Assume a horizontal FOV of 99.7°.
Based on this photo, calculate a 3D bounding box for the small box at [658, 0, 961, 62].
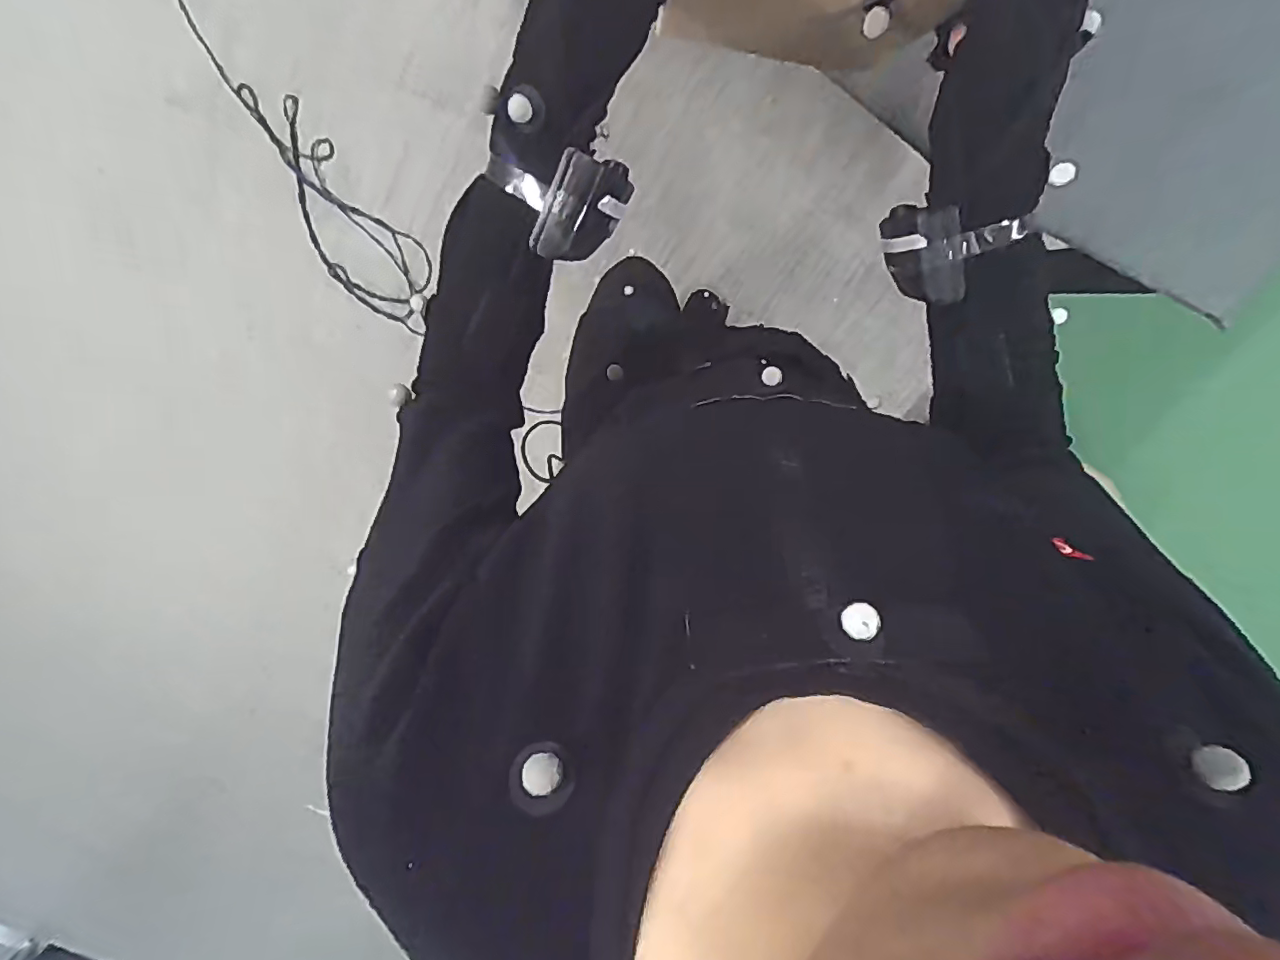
[{"bbox_3d":[0.112,-0.382,0.322,0.179,0.176,0.168,8,112,-4],"label":"small box"}]
